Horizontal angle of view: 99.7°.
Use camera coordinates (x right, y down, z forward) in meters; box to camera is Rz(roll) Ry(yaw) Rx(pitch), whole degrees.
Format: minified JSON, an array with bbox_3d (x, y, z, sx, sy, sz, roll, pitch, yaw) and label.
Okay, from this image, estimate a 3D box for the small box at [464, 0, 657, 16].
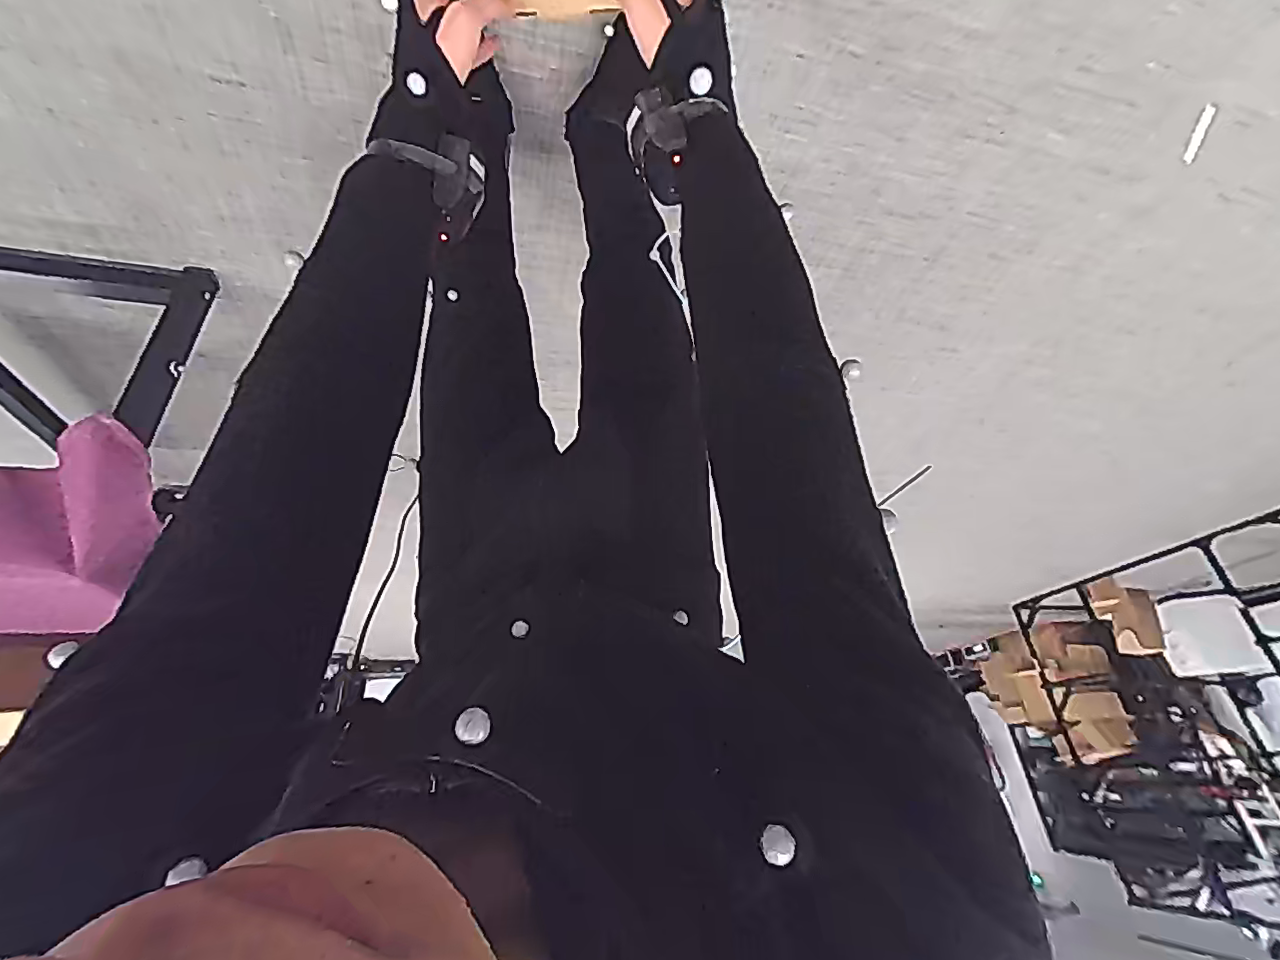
[{"bbox_3d":[-0.068,-0.507,0.422,0.168,0.176,0.179,-3,149,-1],"label":"small box"}]
